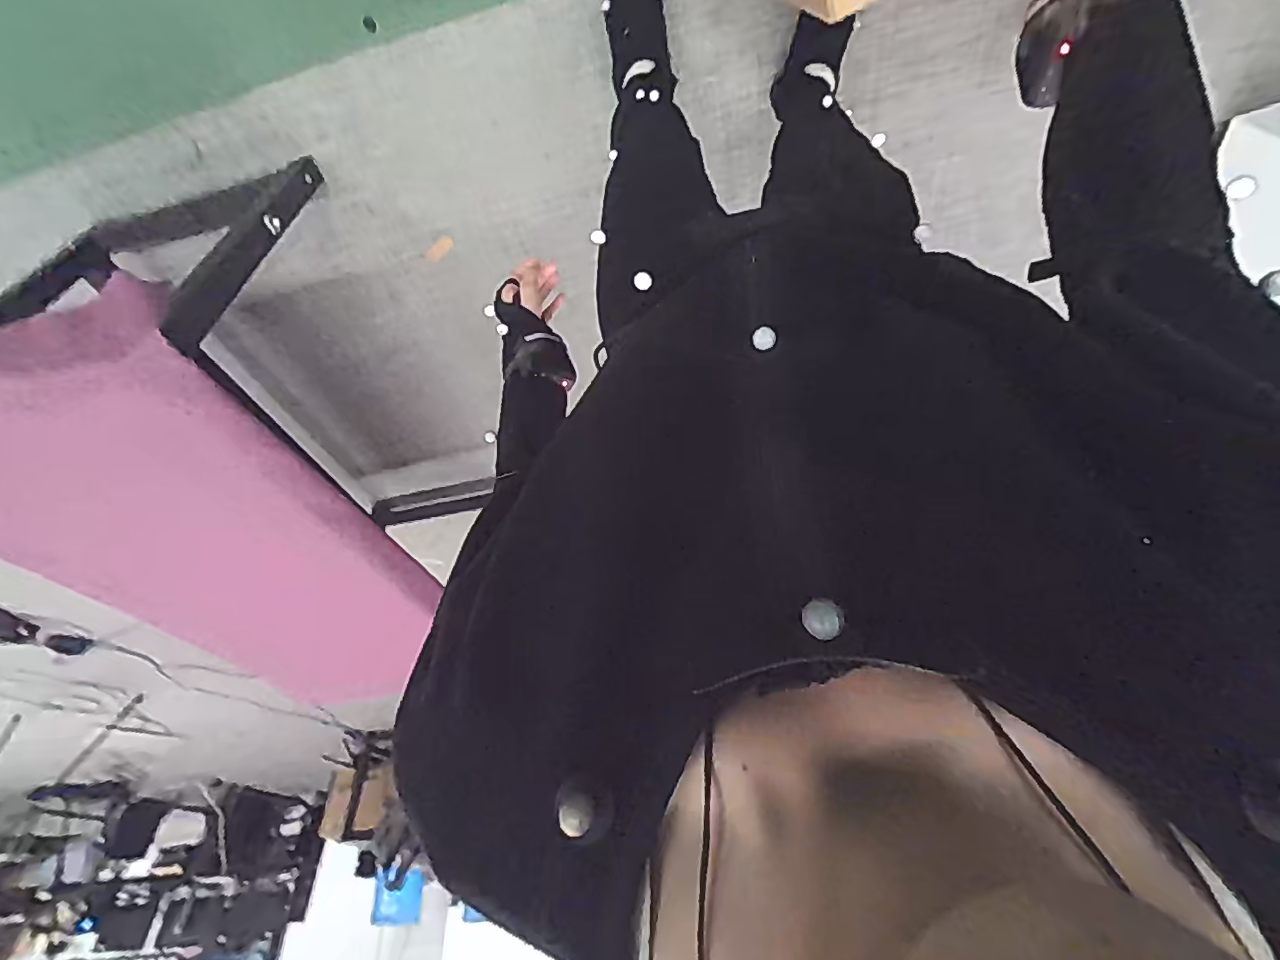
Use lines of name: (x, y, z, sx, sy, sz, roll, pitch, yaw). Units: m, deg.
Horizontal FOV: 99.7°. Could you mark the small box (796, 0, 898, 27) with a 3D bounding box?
small box: (0.206, -0.516, 0.431, 0.179, 0.176, 0.168, -21, 138, 13)
